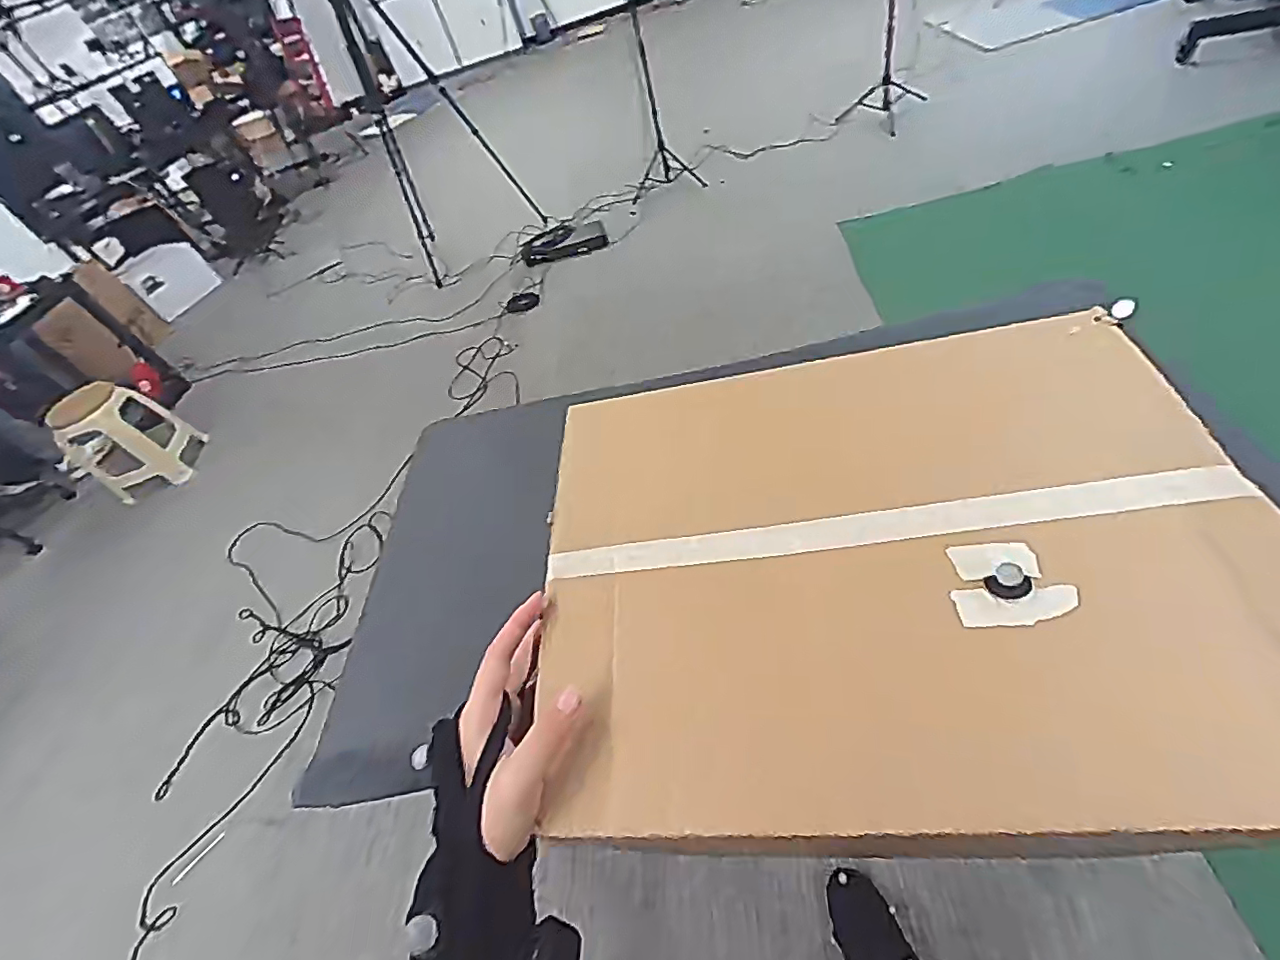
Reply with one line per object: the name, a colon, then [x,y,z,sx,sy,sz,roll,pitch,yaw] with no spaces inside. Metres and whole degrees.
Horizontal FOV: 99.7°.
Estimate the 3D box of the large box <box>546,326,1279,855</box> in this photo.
large box: [0.171,0.122,0.460,0.408,0.320,0.320,-8,54,11]
